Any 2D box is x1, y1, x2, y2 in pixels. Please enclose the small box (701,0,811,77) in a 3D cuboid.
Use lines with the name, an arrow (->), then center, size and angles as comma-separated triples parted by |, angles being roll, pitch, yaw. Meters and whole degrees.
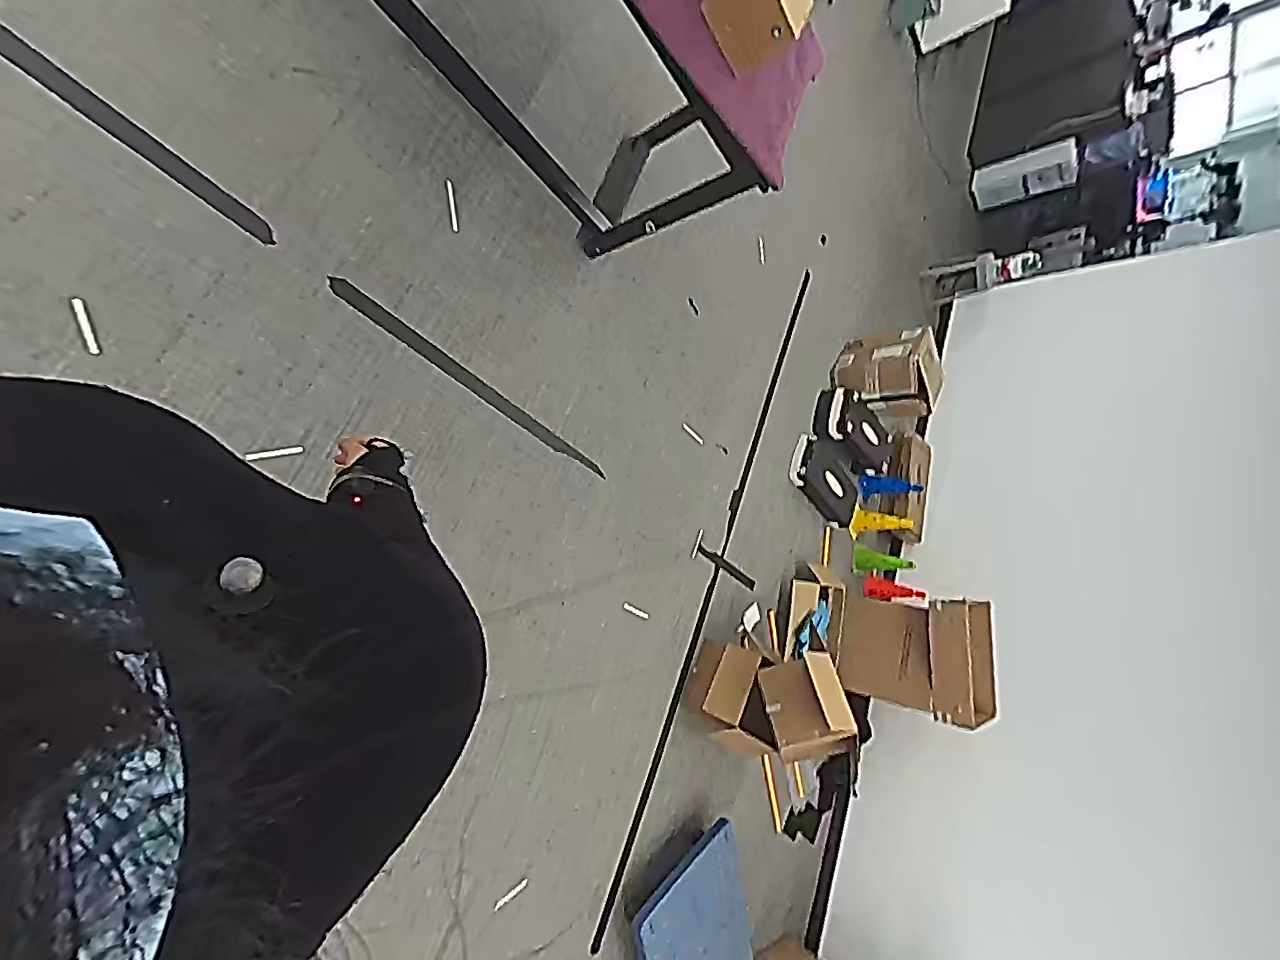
small box -> 0.267, -1.095, 1.252 | 0.179, 0.176, 0.168 | 41, 62, -38
